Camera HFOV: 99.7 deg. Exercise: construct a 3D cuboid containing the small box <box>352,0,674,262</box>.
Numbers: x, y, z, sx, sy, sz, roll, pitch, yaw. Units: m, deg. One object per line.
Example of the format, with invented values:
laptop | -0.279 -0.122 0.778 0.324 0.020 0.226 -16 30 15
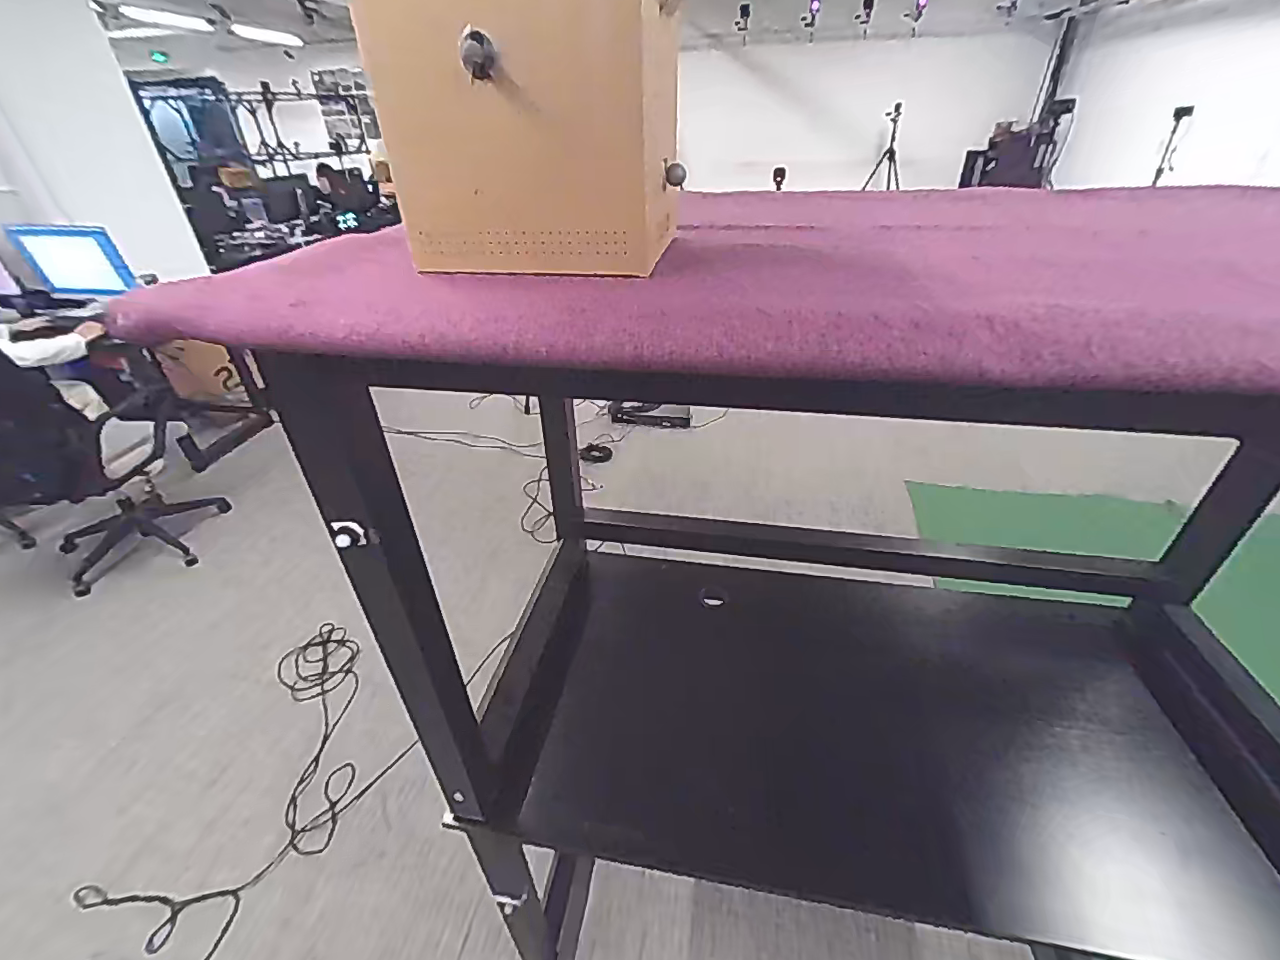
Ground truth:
small box | -0.072 -0.263 0.393 0.179 0.176 0.168 4 35 9
